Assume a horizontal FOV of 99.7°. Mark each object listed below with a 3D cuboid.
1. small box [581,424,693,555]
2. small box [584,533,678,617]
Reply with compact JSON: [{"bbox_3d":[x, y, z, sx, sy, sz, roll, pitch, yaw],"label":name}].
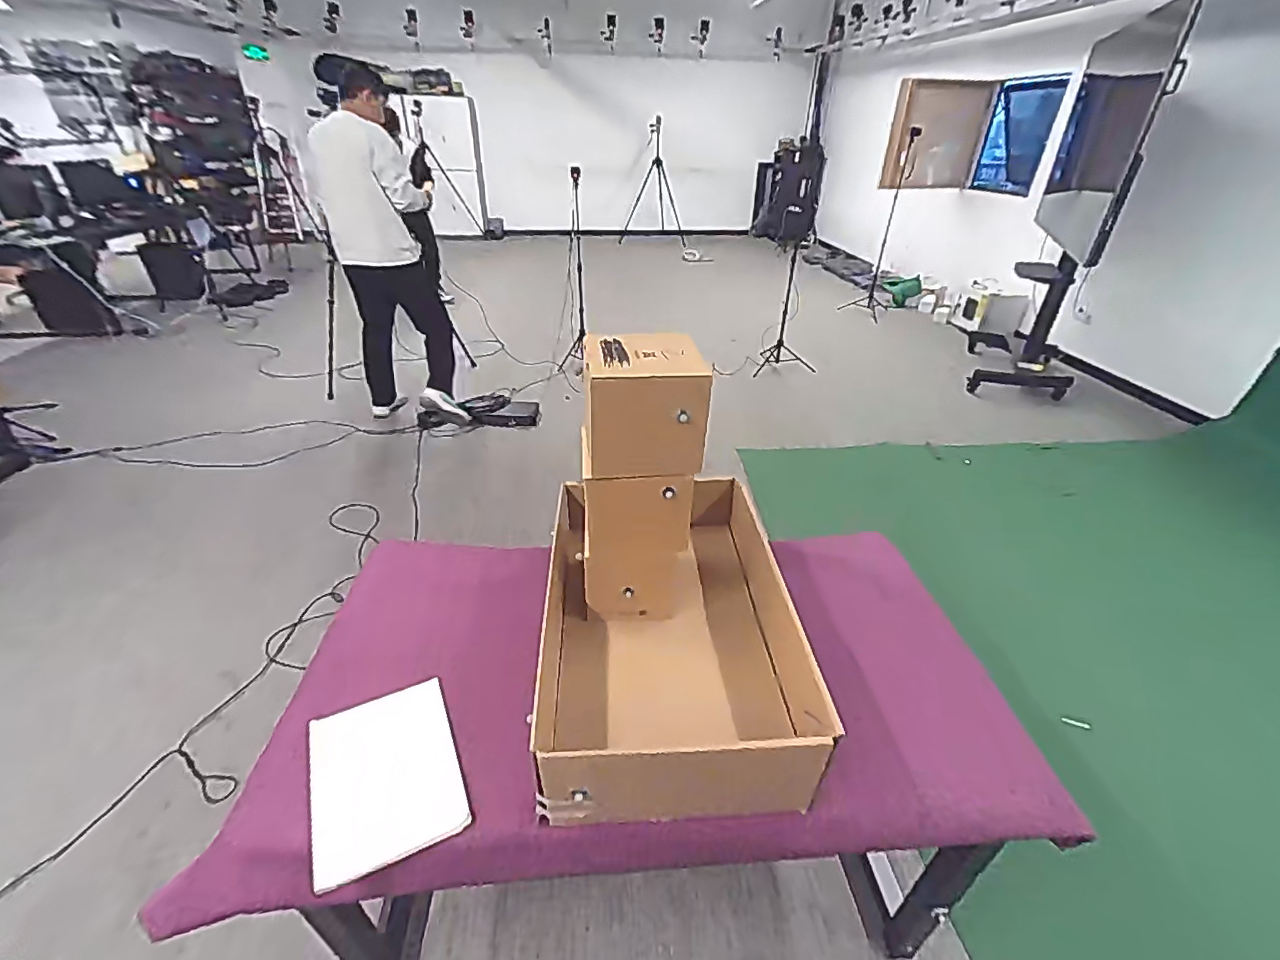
[{"bbox_3d":[-0.010,0.017,0.944,0.179,0.176,0.168,-2,35,-5],"label":"small box"},{"bbox_3d":[-0.018,0.148,1.038,0.168,0.176,0.179,-1,35,-3],"label":"small box"}]
